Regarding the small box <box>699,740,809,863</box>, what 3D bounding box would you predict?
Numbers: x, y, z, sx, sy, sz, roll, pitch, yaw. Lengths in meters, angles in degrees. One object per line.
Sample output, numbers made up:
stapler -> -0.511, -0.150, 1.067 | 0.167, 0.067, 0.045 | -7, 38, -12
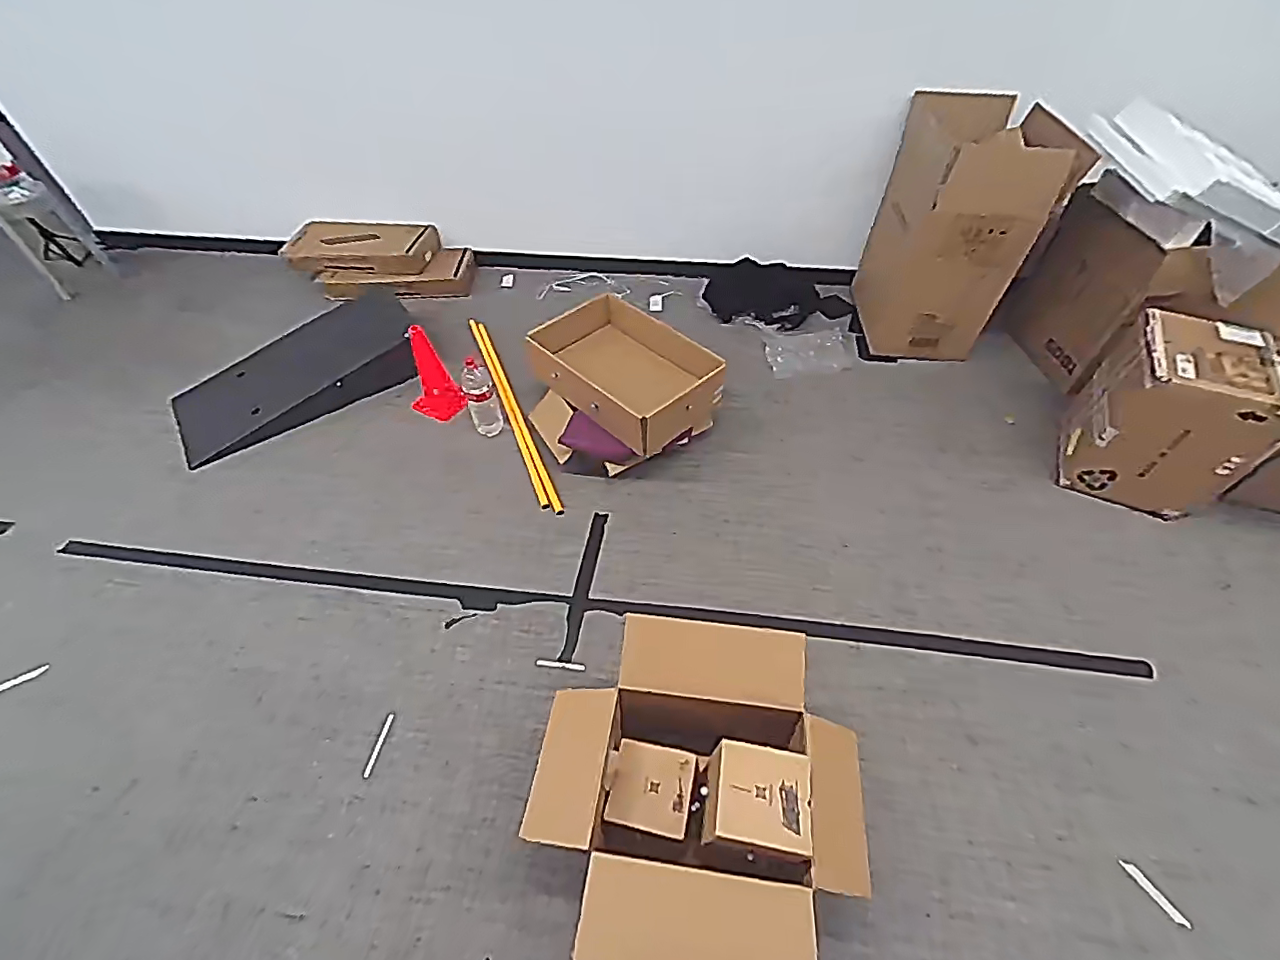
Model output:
small box -> 0.222, 0.636, 1.064 | 0.179, 0.176, 0.168 | 10, 50, 5
